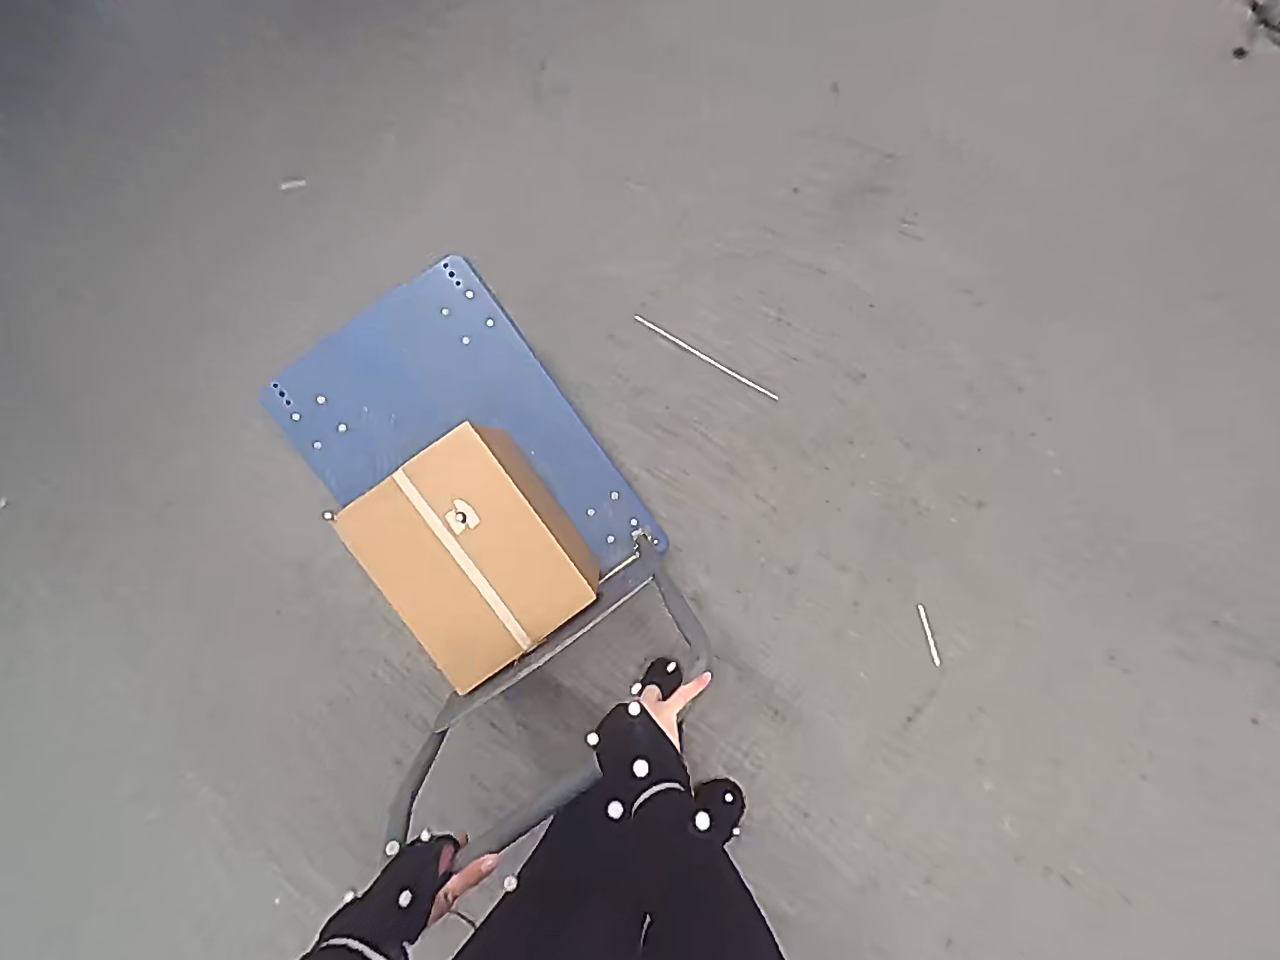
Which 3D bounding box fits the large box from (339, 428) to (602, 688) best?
[{"bbox_3d":[-0.323,0.144,1.155,0.320,0.320,0.408,-36,92,-2],"label":"large box"}]
